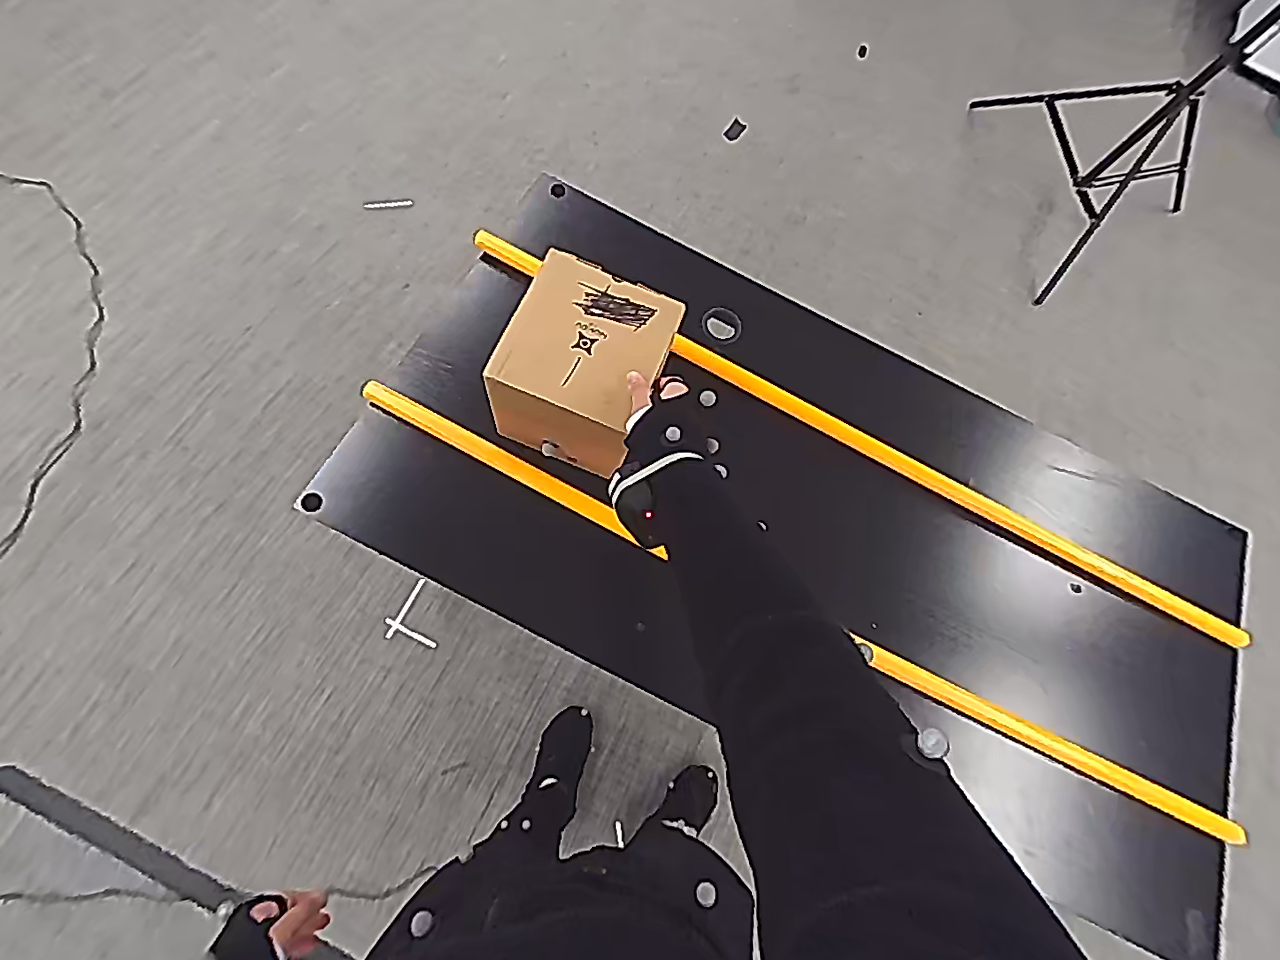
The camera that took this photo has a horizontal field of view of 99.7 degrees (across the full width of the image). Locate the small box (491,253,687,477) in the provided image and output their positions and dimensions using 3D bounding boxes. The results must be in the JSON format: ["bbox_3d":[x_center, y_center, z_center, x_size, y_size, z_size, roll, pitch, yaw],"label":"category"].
[{"bbox_3d":[-0.062,-0.128,0.658,0.168,0.176,0.179,22,72,-1],"label":"small box"}]
